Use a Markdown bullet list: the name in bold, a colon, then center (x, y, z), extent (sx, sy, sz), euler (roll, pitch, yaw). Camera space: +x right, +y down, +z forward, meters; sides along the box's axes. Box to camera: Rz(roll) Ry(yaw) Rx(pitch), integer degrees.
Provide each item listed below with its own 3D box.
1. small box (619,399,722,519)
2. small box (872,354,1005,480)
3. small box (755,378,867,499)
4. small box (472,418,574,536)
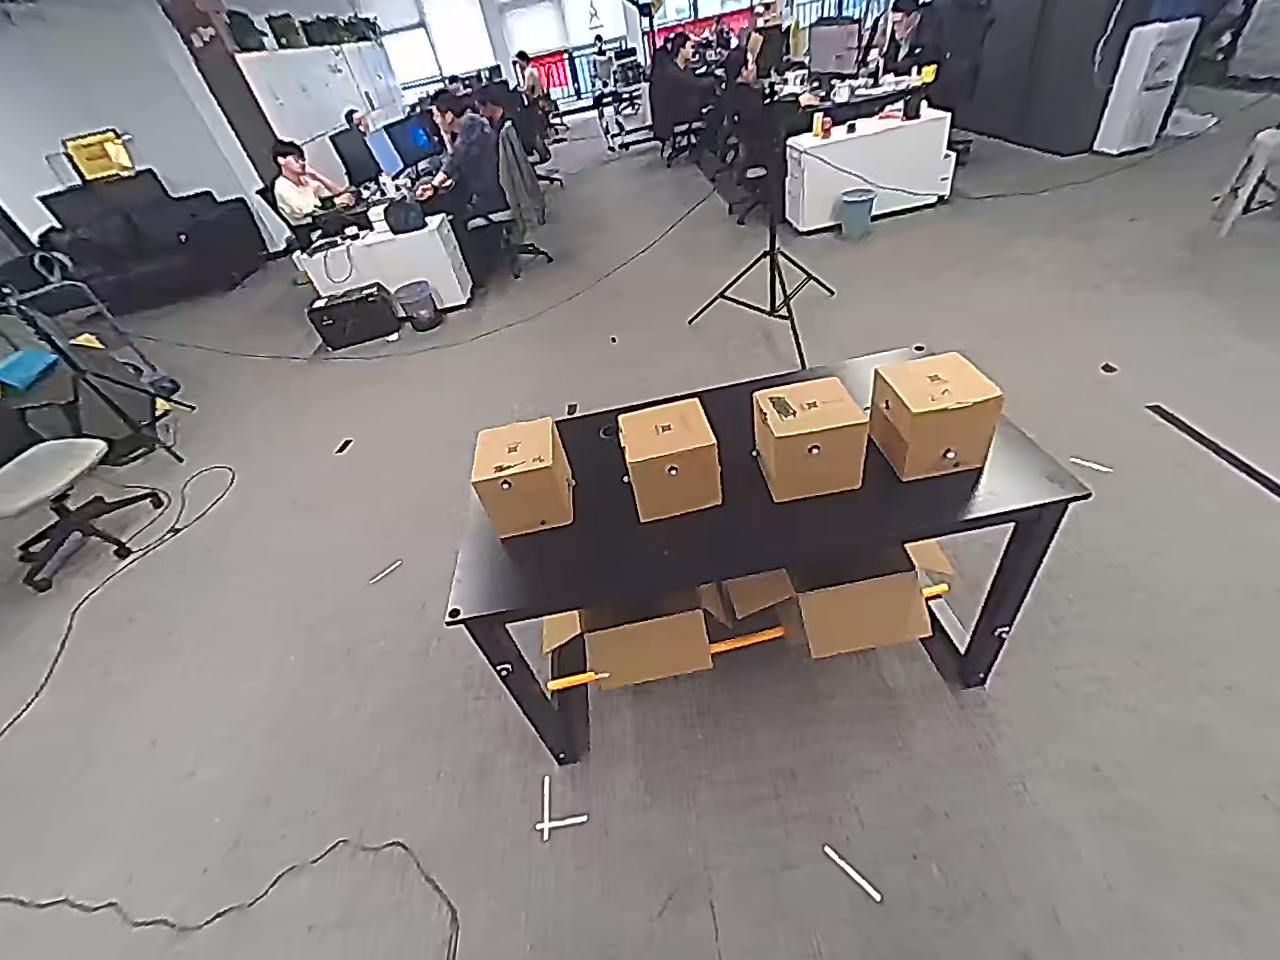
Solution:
- **small box**: center (0.064, -0.040, 1.125), extent (0.179, 0.176, 0.168), euler (-13, 41, -1)
- **small box**: center (0.579, -0.125, 1.079), extent (0.168, 0.176, 0.179), euler (-11, 40, 5)
- **small box**: center (0.339, -0.079, 1.092), extent (0.179, 0.176, 0.168), euler (-10, 40, 4)
- **small box**: center (-0.243, -0.006, 1.165), extent (0.168, 0.176, 0.179), euler (-12, 40, 1)
